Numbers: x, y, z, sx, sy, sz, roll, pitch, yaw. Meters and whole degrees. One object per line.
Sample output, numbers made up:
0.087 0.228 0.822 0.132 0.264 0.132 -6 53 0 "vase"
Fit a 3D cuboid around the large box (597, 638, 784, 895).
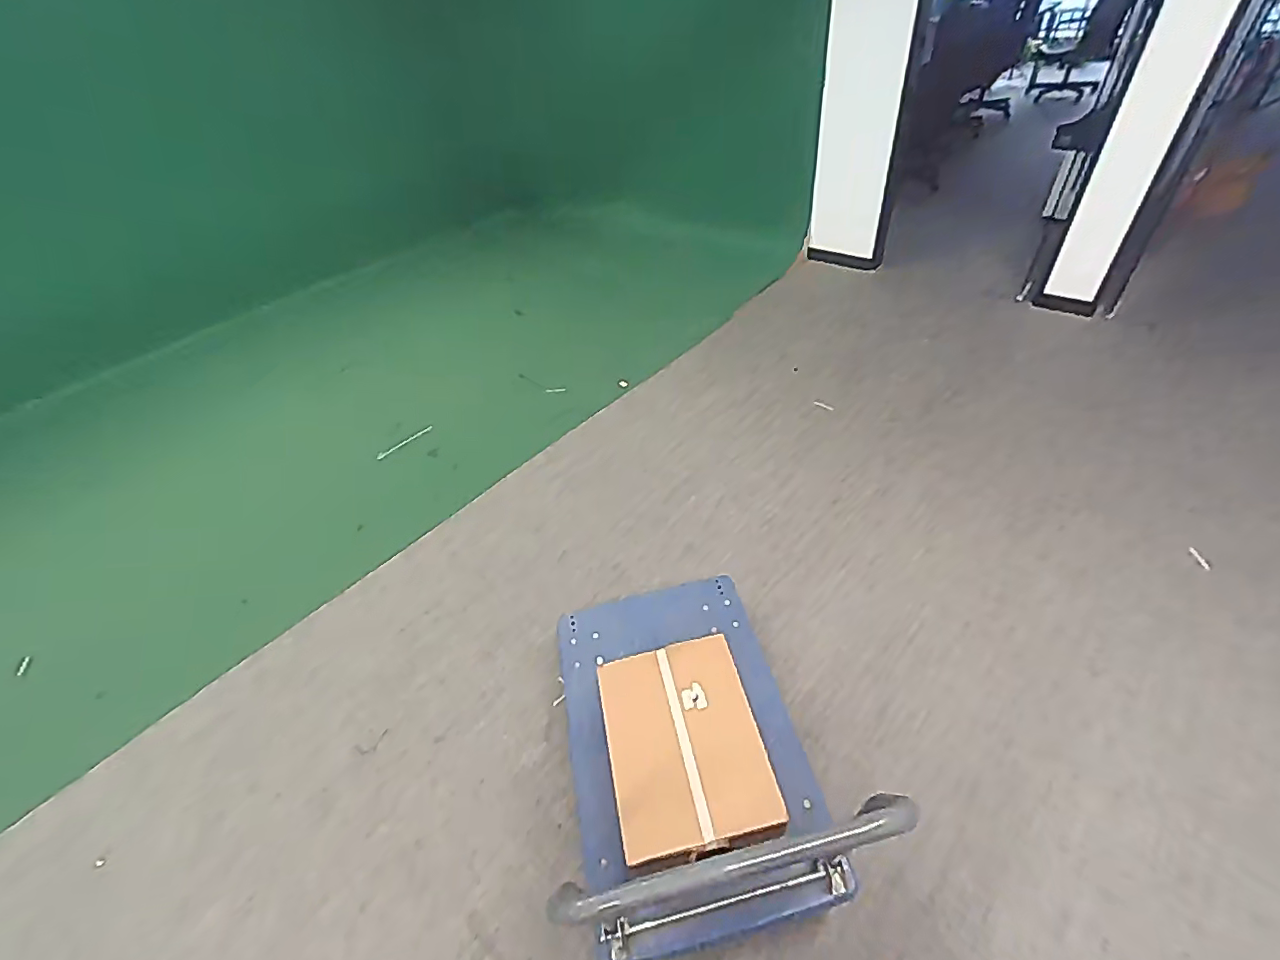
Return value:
0.108 0.652 1.250 0.320 0.320 0.408 -13 42 -3 "large box"
